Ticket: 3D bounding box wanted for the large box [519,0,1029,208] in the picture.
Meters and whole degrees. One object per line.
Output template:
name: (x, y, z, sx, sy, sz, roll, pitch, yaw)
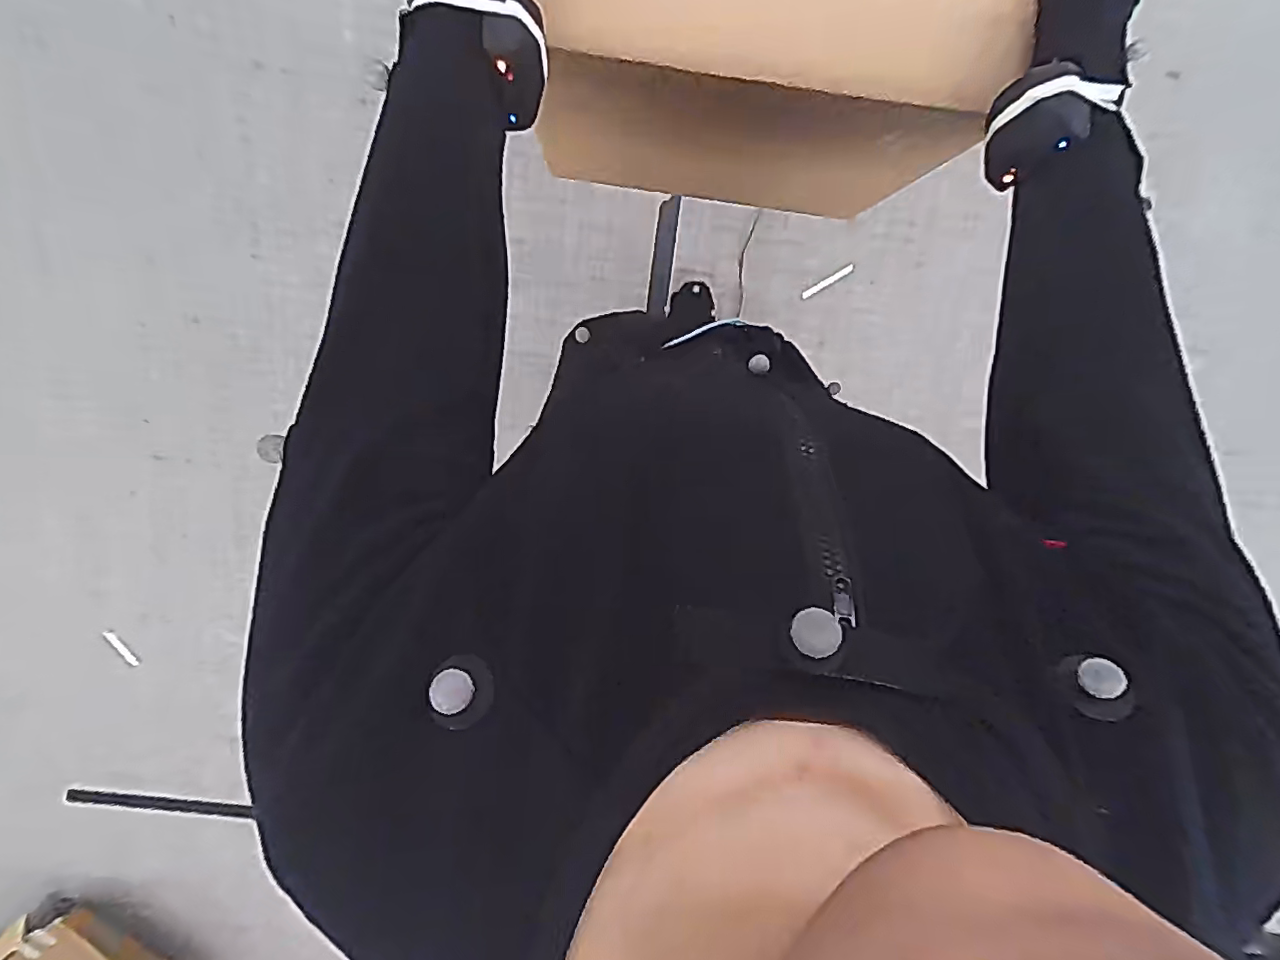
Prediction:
large box: (0.107, -0.497, 0.540, 0.408, 0.320, 0.320, 5, 102, -5)
